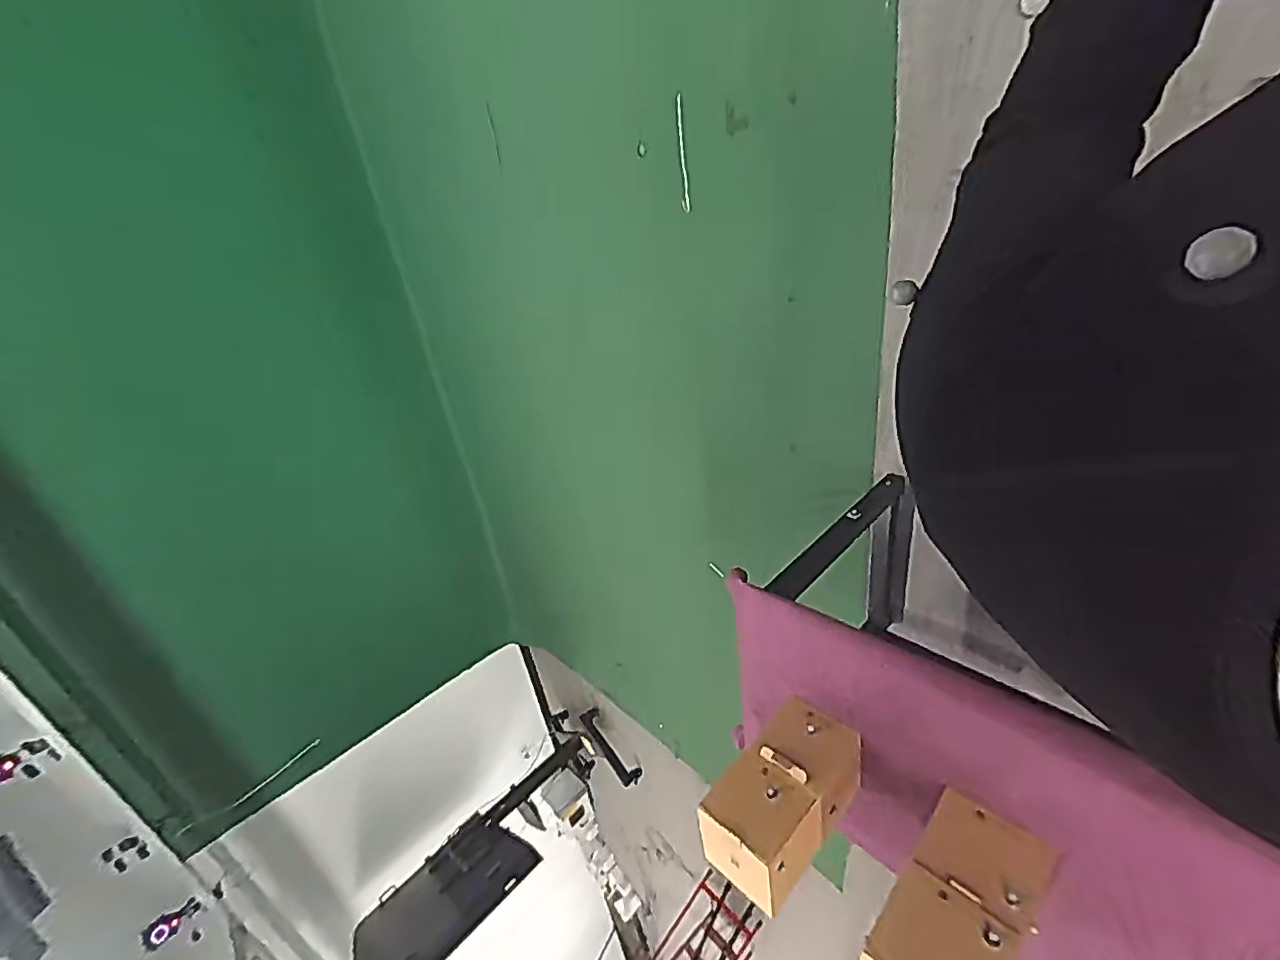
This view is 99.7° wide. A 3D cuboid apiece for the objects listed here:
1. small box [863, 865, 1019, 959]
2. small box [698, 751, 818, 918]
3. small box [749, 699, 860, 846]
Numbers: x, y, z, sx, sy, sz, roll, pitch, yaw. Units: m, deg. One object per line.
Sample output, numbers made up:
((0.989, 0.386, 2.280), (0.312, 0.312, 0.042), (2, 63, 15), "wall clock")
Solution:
((0.459, 0.754, 0.836), (0.168, 0.176, 0.179), (20, 131, 42), "small box")
((0.236, 0.684, 1.061), (0.168, 0.176, 0.179), (17, 126, 44), "small box")
((0.353, 0.613, 1.151), (0.168, 0.176, 0.179), (16, 126, 43), "small box")
